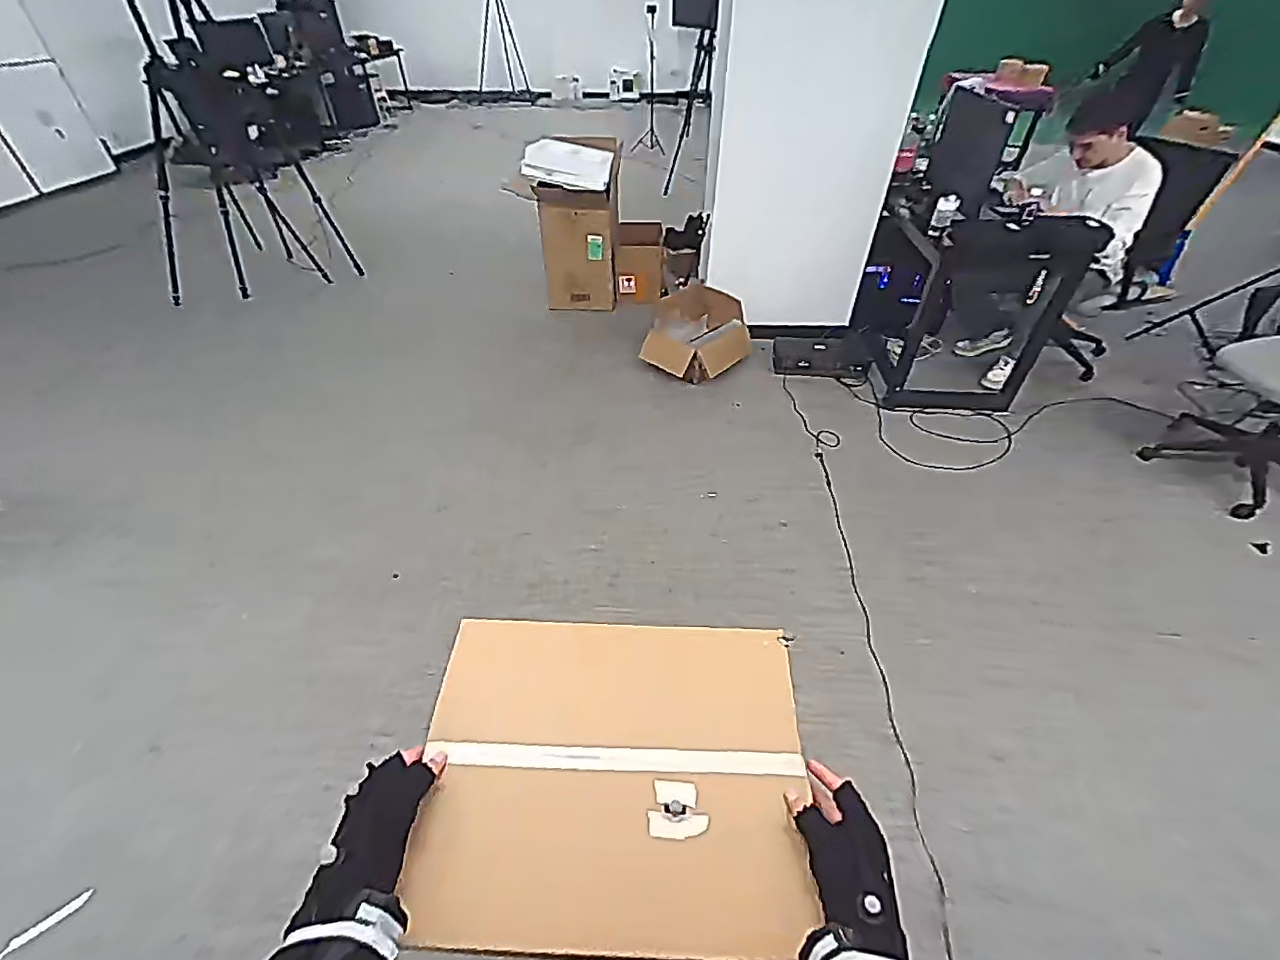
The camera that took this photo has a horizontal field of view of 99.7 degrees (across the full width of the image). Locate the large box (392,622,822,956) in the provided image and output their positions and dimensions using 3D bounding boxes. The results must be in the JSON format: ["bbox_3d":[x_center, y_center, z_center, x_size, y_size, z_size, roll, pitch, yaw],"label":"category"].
[{"bbox_3d":[-0.032,0.402,0.700,0.408,0.320,0.320,2,48,1],"label":"large box"}]
